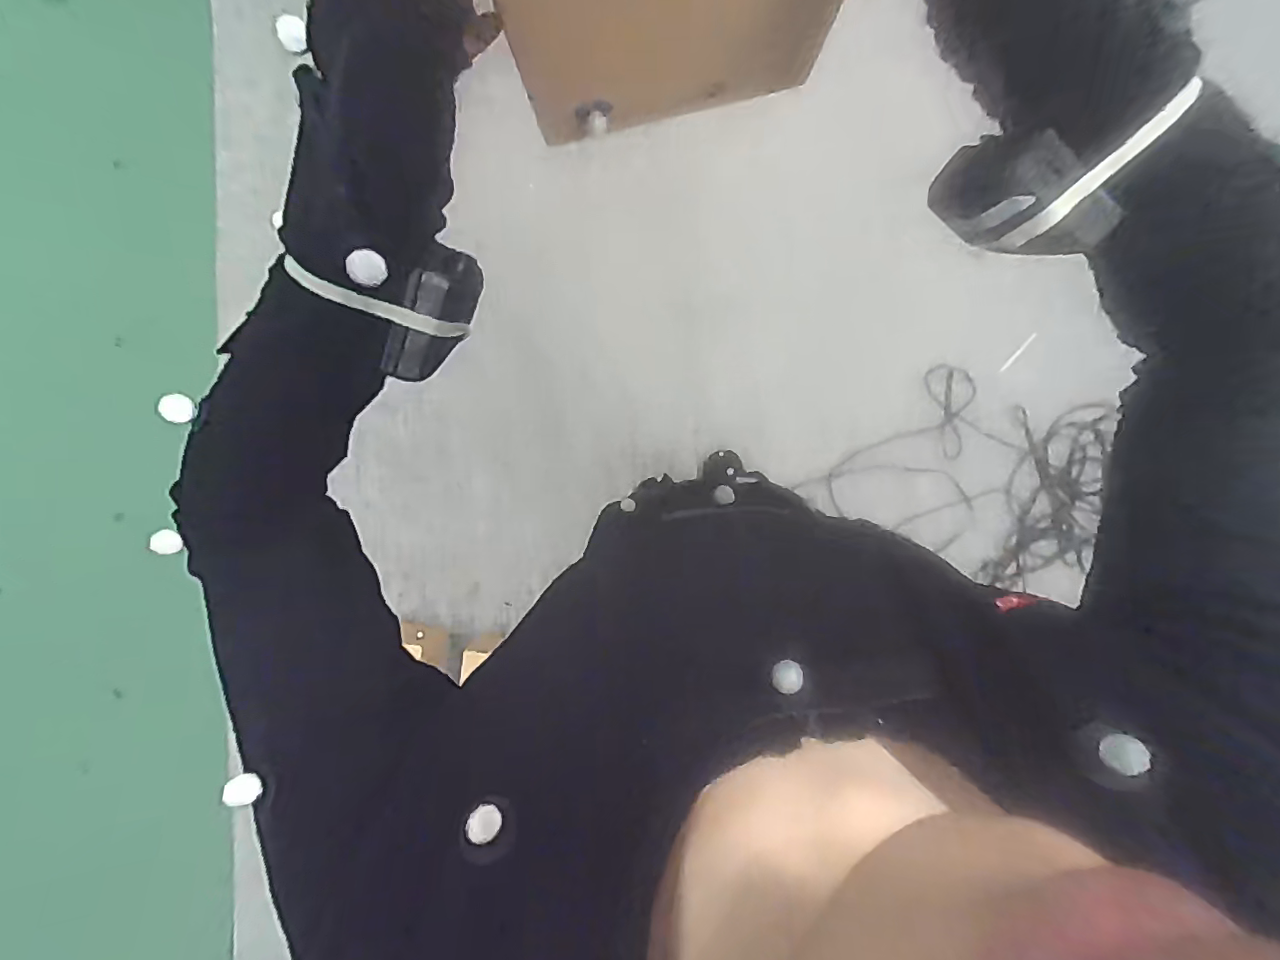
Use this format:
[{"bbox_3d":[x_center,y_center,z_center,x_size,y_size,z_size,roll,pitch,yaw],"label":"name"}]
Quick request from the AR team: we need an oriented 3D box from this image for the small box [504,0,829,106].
[{"bbox_3d":[0.004,-0.306,0.241,0.168,0.176,0.179,-12,94,2],"label":"small box"}]
